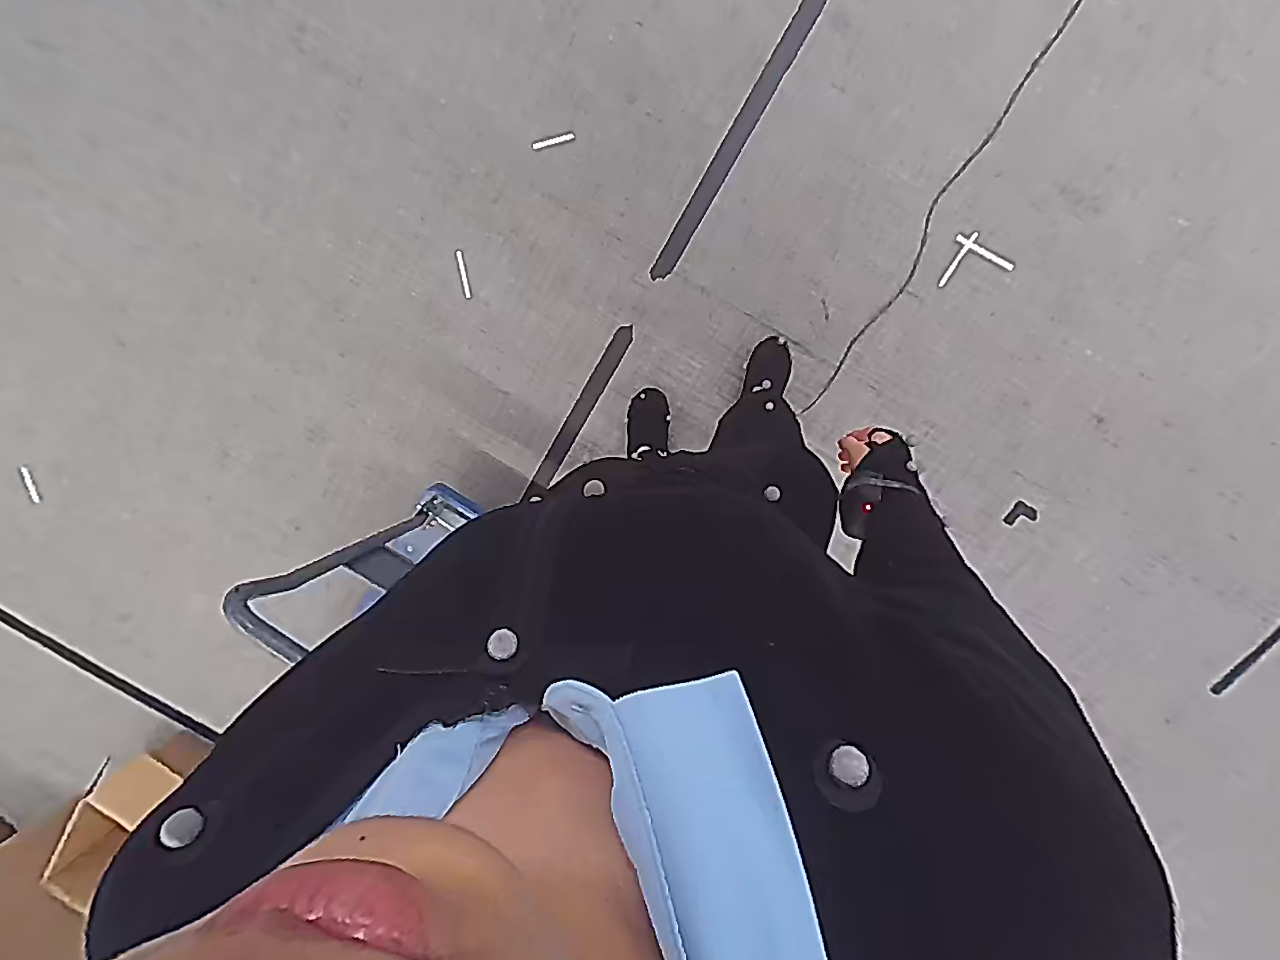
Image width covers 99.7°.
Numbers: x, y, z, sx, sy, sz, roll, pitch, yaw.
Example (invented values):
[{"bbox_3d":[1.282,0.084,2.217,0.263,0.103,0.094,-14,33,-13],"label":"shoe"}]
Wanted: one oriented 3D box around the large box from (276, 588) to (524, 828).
[{"bbox_3d":[-0.568,0.542,1.345,0.408,0.320,0.320,35,104,-3],"label":"large box"}]
